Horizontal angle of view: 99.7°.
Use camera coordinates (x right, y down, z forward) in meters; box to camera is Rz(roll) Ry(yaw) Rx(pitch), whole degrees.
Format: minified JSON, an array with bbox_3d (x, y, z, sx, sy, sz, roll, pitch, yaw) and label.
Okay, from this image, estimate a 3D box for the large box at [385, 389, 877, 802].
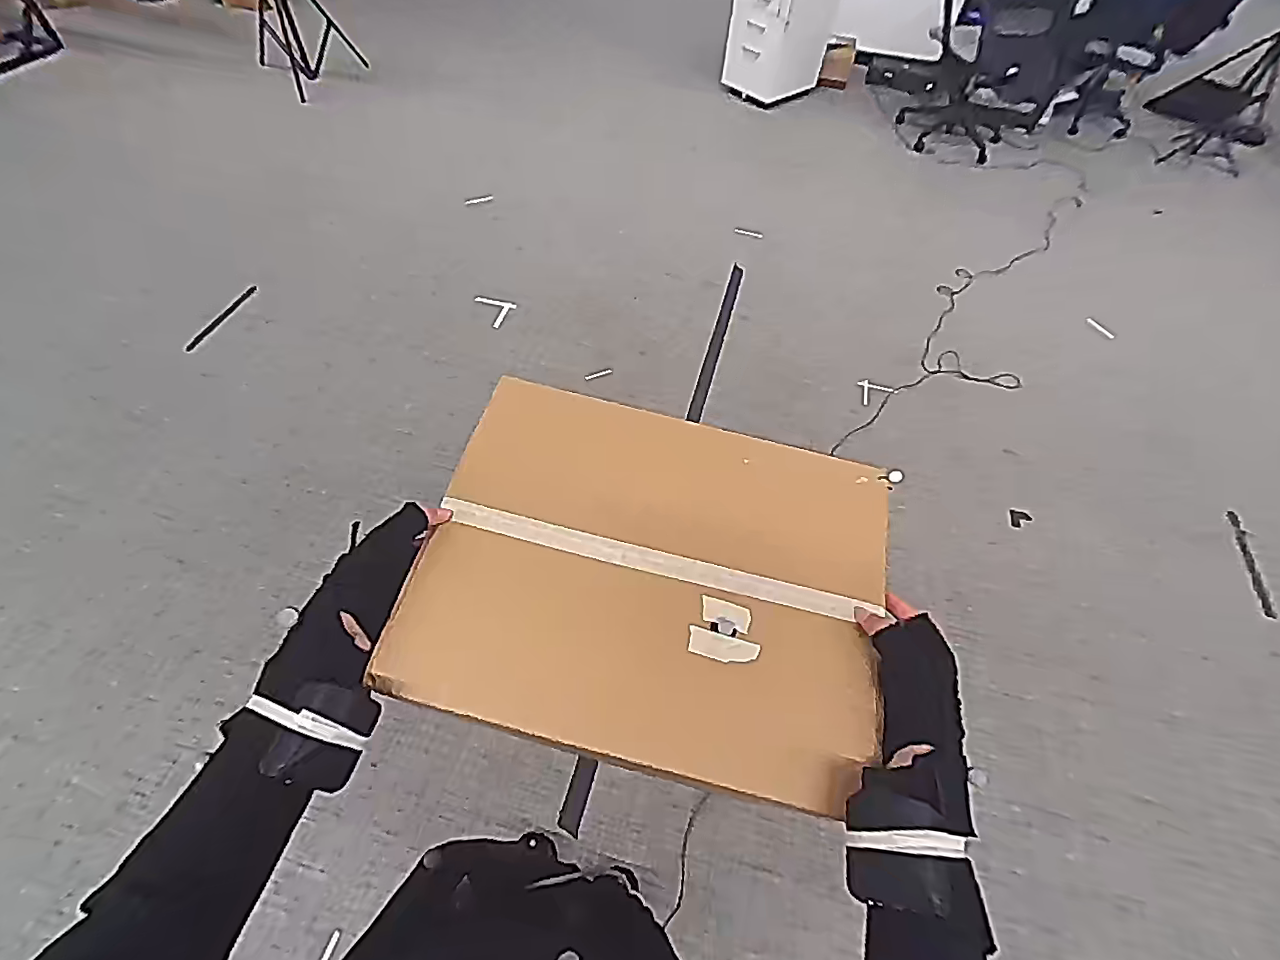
[{"bbox_3d":[0.004,0.145,0.625,0.408,0.320,0.320,14,63,2],"label":"large box"}]
